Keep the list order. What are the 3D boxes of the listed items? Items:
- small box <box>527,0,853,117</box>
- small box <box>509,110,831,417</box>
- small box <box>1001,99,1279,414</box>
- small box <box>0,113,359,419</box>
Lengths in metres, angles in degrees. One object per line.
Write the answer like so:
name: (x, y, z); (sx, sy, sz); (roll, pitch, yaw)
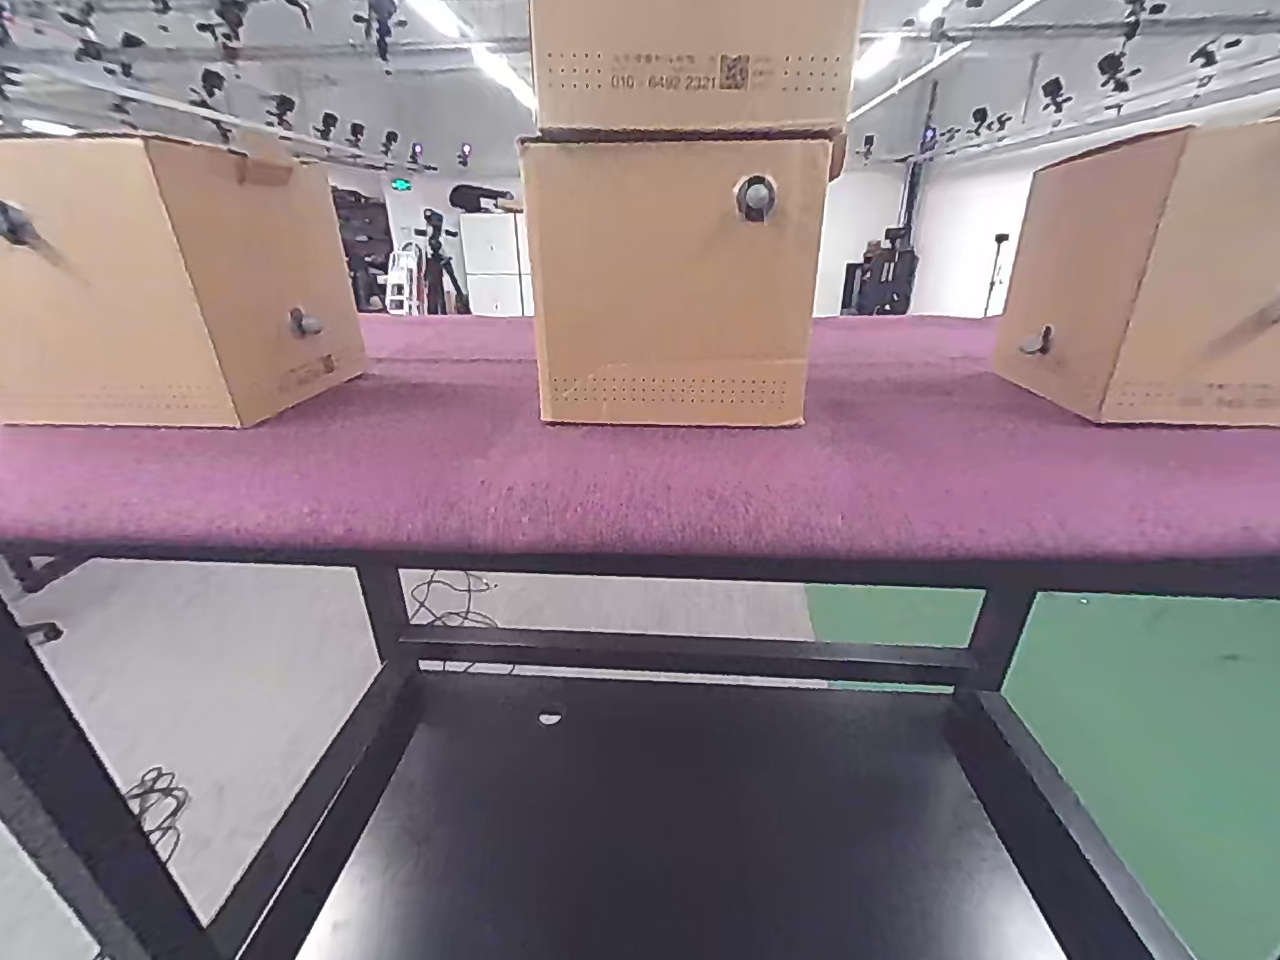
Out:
small box: (0.027, -0.294, 0.323); (0.168, 0.176, 0.179); (2, 22, 1)
small box: (0.021, -0.146, 0.389); (0.179, 0.176, 0.168); (1, 24, 3)
small box: (0.382, -0.145, 0.368); (0.168, 0.176, 0.179); (3, 23, 10)
small box: (-0.342, -0.148, 0.390); (0.179, 0.176, 0.168); (1, 26, 3)
